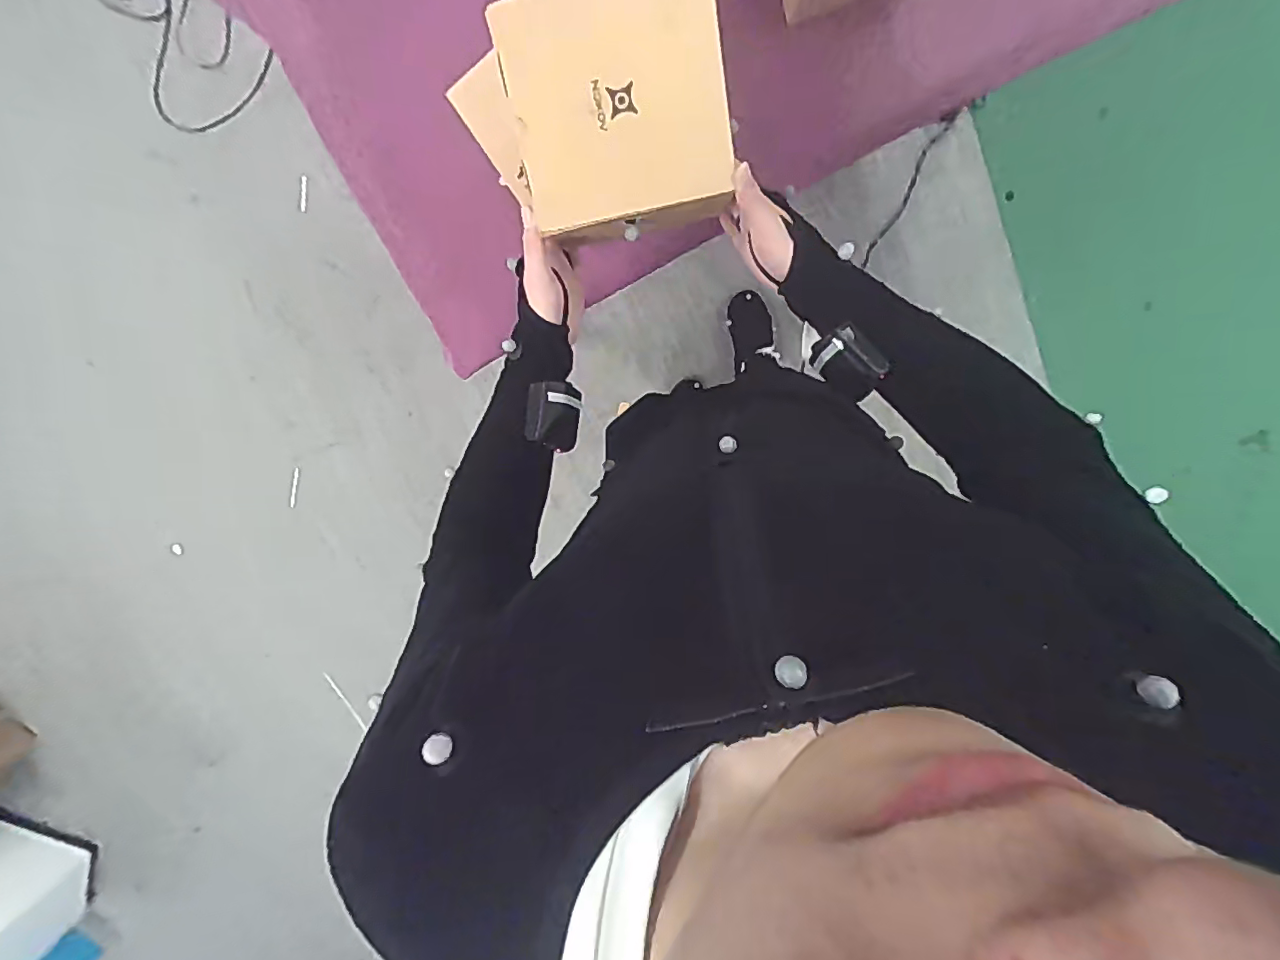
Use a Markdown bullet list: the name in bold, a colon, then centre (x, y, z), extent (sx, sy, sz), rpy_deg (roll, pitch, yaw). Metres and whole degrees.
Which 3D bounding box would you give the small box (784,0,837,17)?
- **small box**: centre (0.246, -0.690, 0.618), extent (0.179, 0.176, 0.168), rpy_deg (-18, 103, 8)

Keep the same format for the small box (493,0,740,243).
- **small box**: centre (-0.010, -0.327, 0.507), extent (0.179, 0.176, 0.168), rpy_deg (-8, 111, 8)
